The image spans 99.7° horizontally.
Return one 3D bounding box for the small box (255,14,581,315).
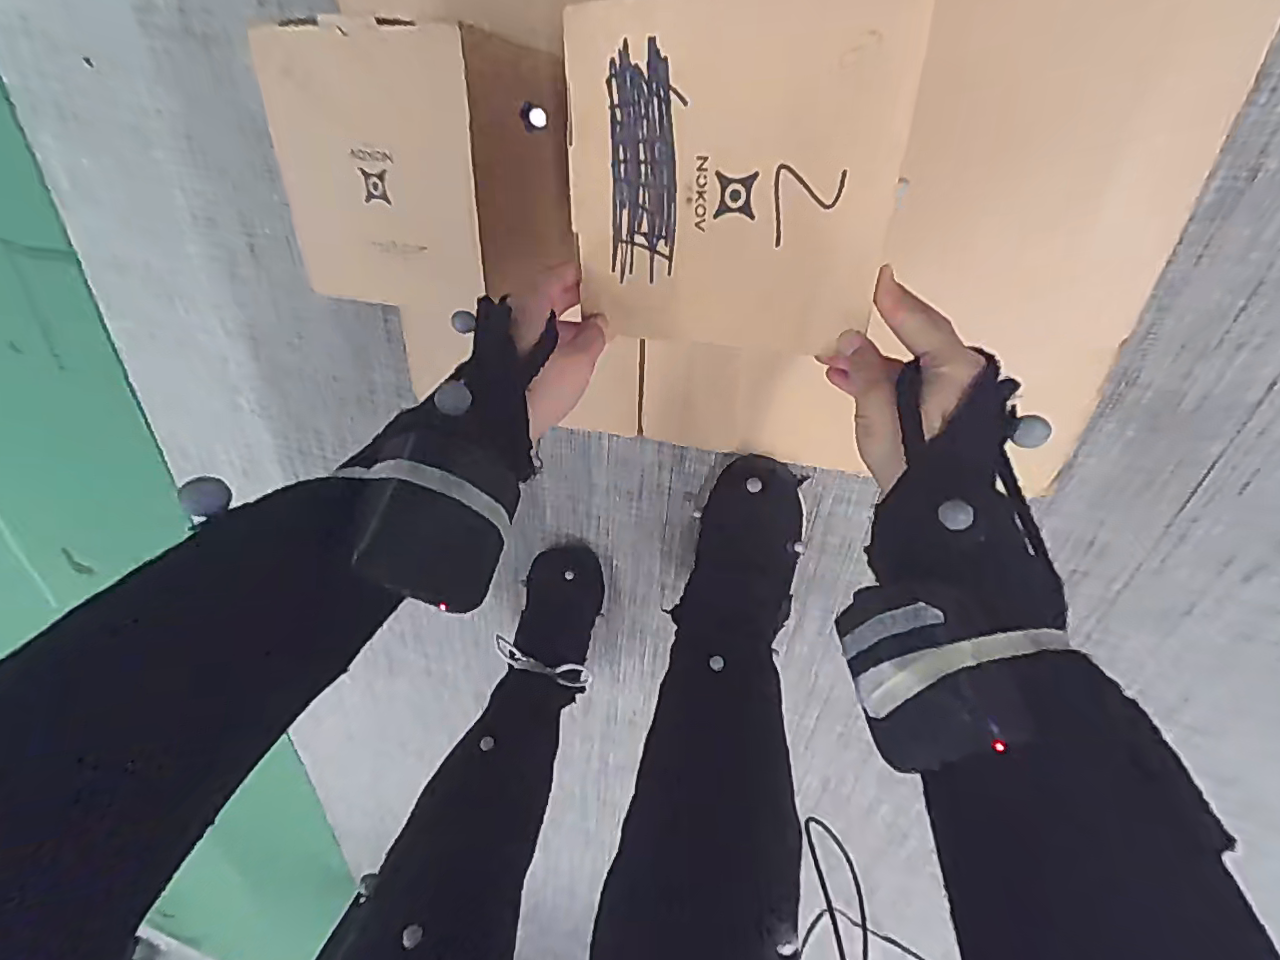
[{"bbox_3d":[-0.155,-0.252,0.445,0.168,0.176,0.179,12,123,14],"label":"small box"}]
